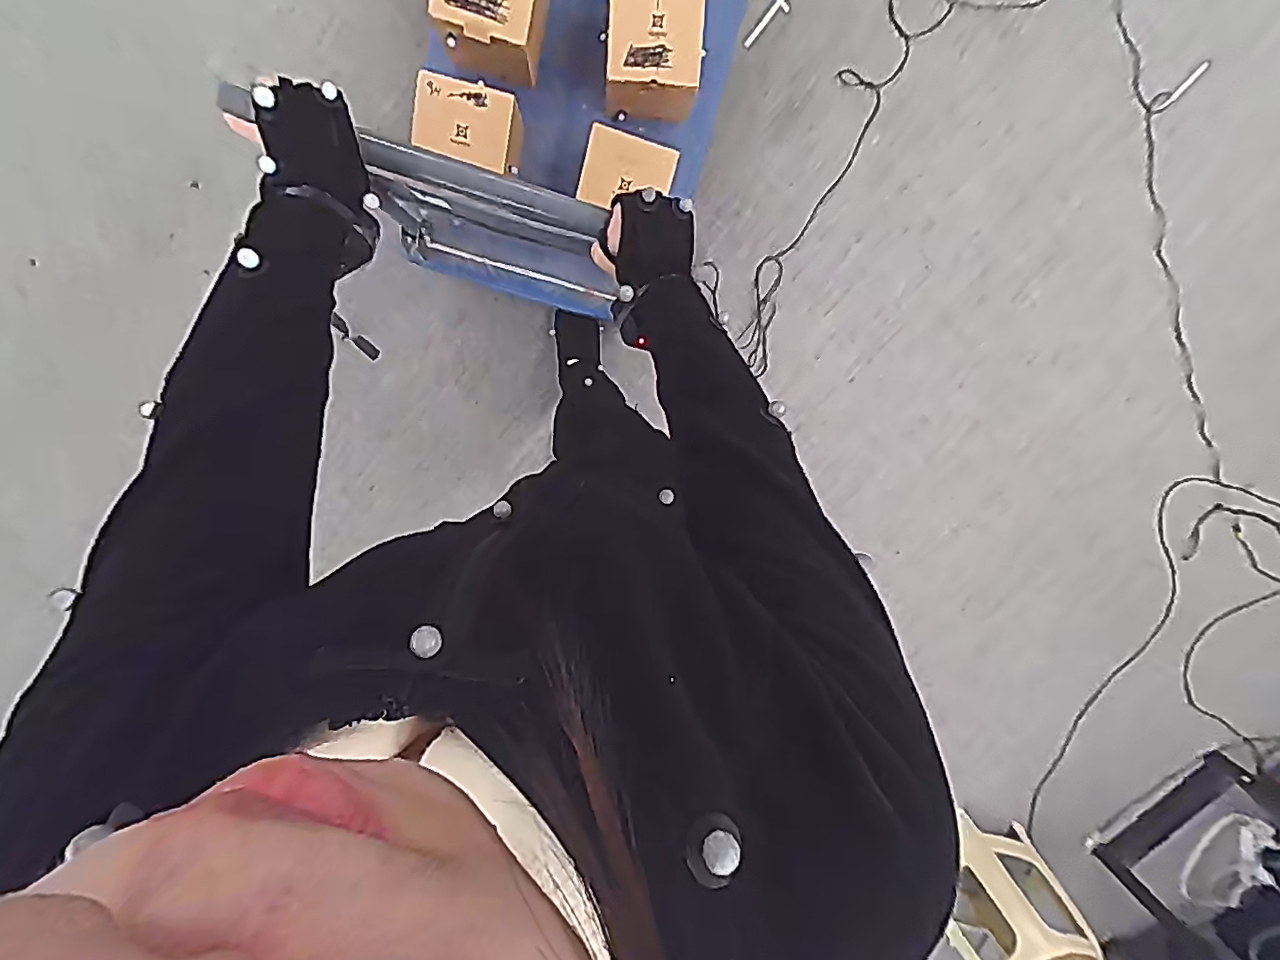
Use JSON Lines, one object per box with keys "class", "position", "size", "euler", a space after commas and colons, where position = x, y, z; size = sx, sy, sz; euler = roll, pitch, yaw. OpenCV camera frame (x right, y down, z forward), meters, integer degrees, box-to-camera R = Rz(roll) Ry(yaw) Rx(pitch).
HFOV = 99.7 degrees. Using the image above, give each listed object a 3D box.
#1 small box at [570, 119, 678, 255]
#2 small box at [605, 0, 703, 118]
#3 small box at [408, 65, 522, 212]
{"class": "small box", "position": [-0.036, -0.566, 1.075], "size": [0.168, 0.176, 0.179], "euler": [14, 102, -9]}
{"class": "small box", "position": [0.020, -0.810, 1.013], "size": [0.168, 0.176, 0.179], "euler": [2, 104, -6]}
{"class": "small box", "position": [-0.324, -0.632, 1.028], "size": [0.168, 0.176, 0.179], "euler": [10, 104, -9]}
